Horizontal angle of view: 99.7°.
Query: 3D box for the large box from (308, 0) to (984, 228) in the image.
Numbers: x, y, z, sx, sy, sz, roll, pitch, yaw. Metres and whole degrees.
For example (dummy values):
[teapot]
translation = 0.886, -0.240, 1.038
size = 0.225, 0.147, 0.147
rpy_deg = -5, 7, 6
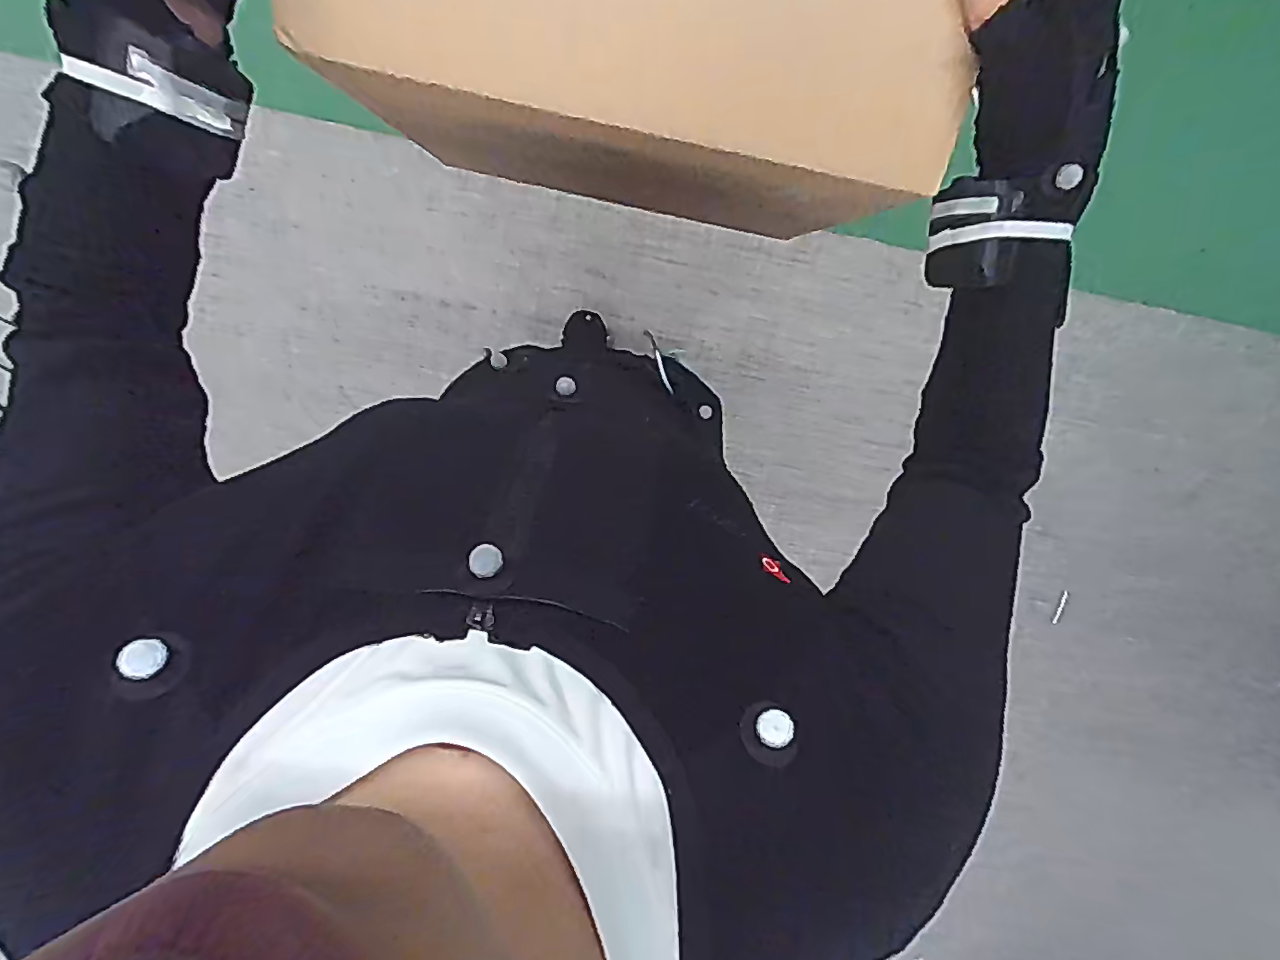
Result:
[large box]
translation = 0.015, -0.417, 0.432
size = 0.408, 0.320, 0.320
rpy_deg = 9, 109, -6
